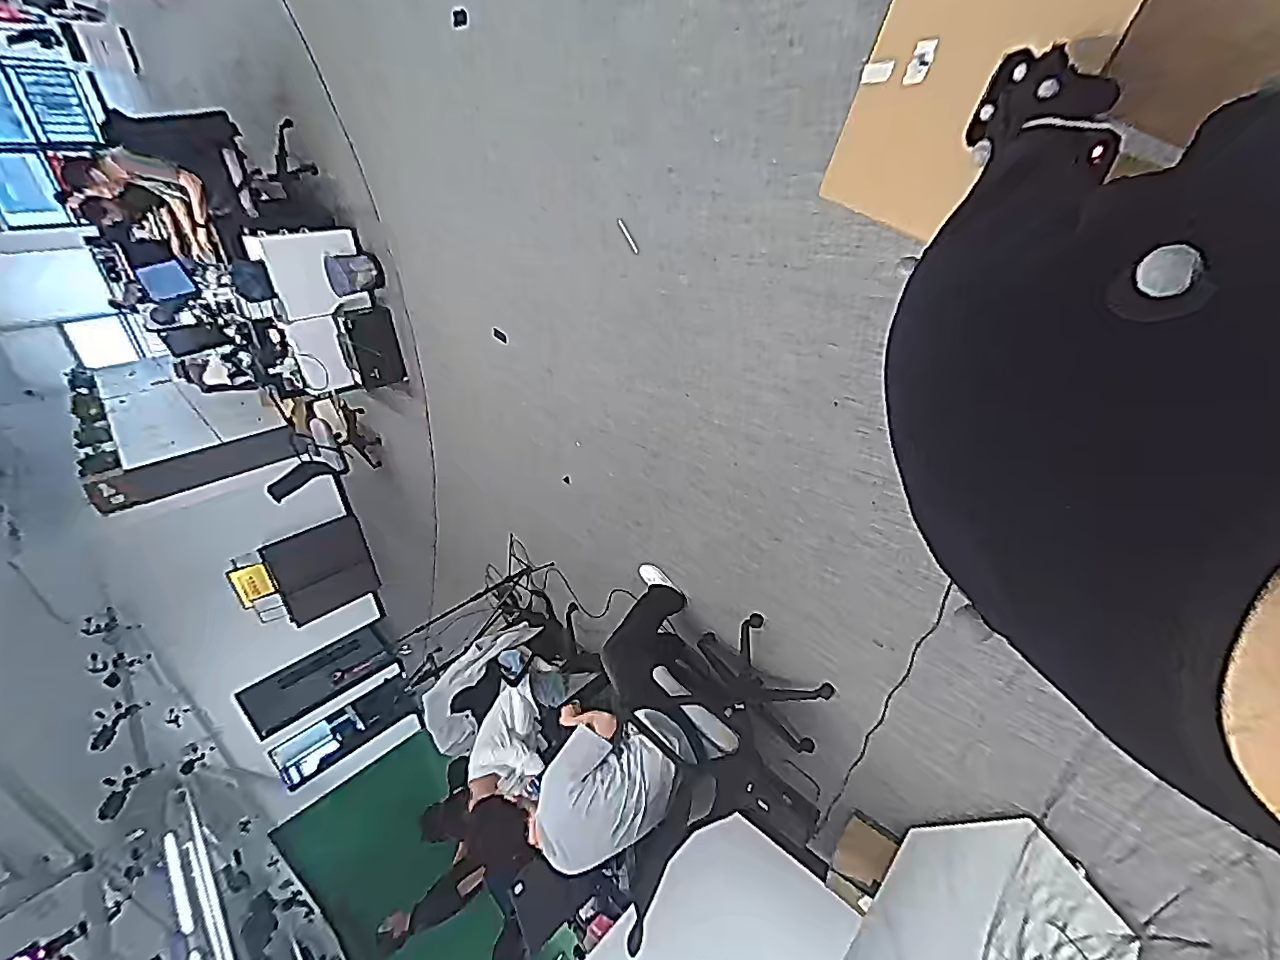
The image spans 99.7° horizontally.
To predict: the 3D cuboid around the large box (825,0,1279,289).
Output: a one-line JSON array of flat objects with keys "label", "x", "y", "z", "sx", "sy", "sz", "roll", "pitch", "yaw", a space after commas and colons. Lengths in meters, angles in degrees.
[{"label": "large box", "x": 0.550, "y": -0.482, "z": 0.752, "sx": 0.320, "sy": 0.408, "sz": 0.320, "roll": 57, "pitch": 142, "yaw": 40}]
